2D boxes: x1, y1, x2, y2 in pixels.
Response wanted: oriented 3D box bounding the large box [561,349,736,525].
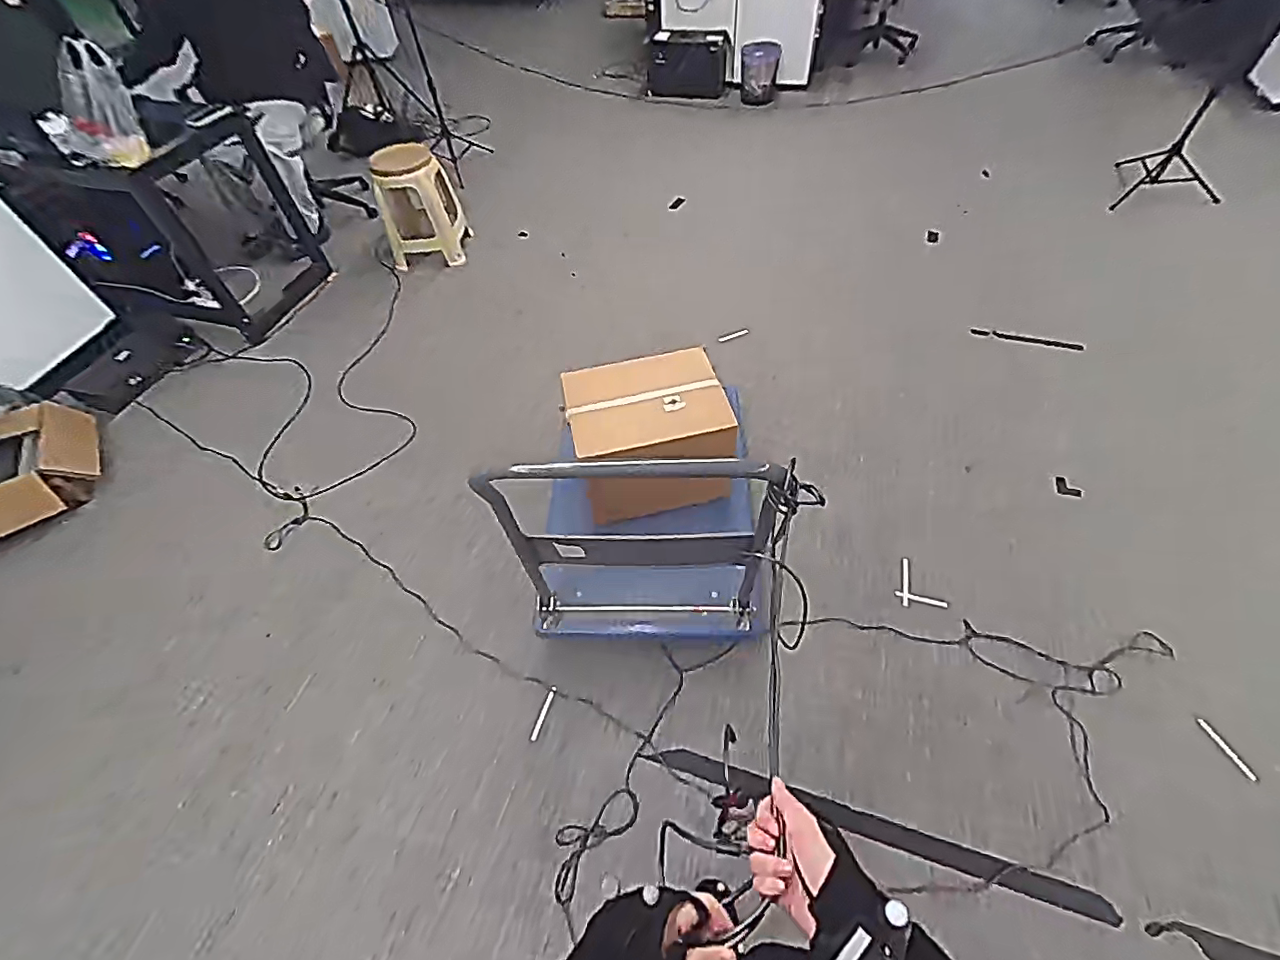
[{"bbox_3d":[0.018,-0.115,1.505,0.408,0.320,0.320,-12,54,-5],"label":"large box"}]
